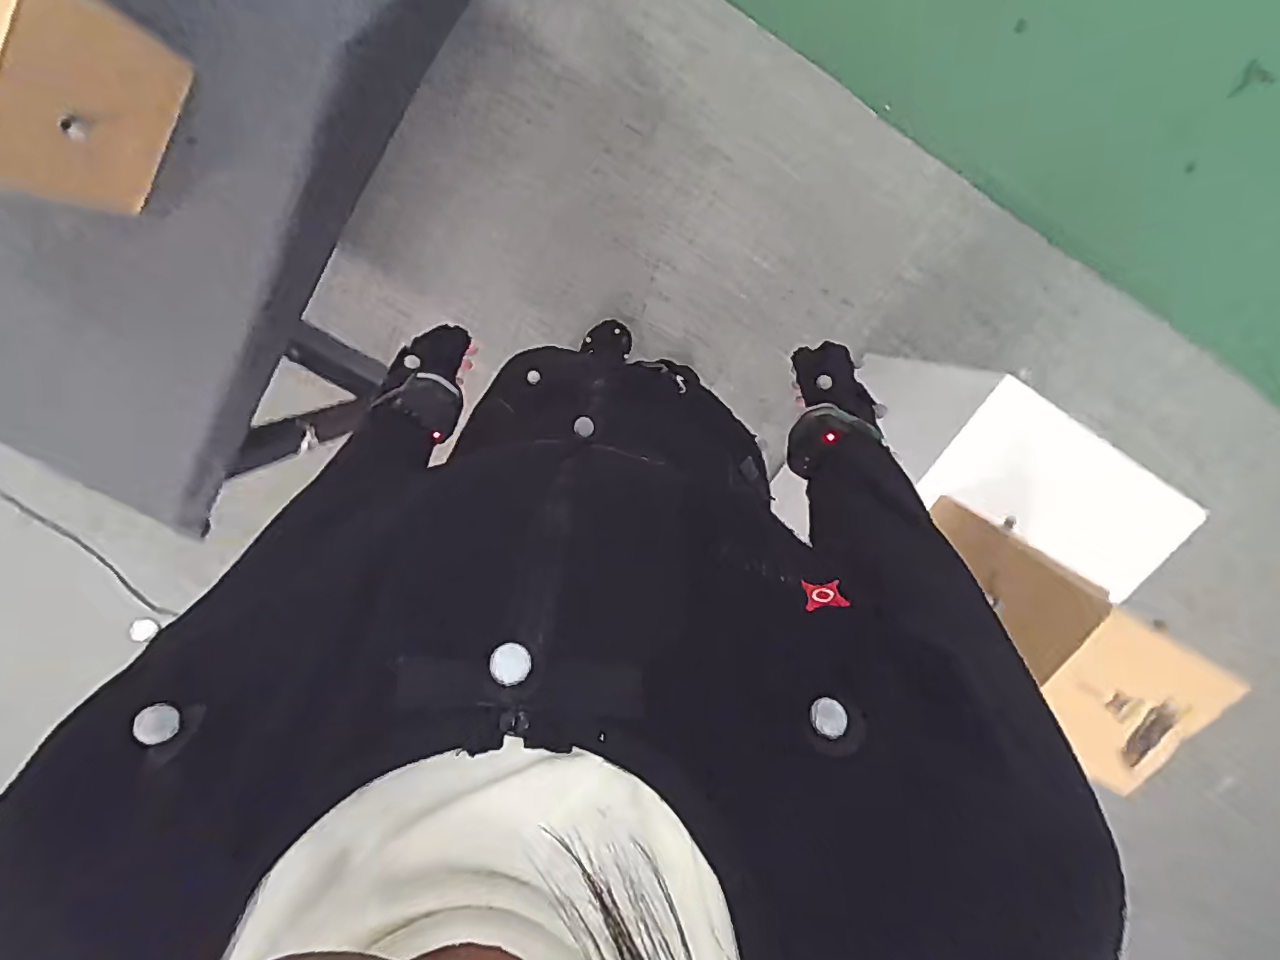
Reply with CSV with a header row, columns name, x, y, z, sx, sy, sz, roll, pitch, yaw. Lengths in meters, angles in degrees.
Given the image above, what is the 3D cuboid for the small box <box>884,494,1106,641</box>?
name,x,y,z,sx,sy,sz,roll,pitch,yaw
small box,0.480,0.148,0.771,0.168,0.176,0.179,28,105,-7

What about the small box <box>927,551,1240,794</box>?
name,x,y,z,sx,sy,sz,roll,pitch,yaw
small box,0.479,0.206,0.617,0.179,0.176,0.168,26,108,-8

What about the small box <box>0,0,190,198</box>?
name,x,y,z,sx,sy,sz,roll,pitch,yaw
small box,-0.586,-0.401,0.510,0.168,0.176,0.179,35,106,-8
